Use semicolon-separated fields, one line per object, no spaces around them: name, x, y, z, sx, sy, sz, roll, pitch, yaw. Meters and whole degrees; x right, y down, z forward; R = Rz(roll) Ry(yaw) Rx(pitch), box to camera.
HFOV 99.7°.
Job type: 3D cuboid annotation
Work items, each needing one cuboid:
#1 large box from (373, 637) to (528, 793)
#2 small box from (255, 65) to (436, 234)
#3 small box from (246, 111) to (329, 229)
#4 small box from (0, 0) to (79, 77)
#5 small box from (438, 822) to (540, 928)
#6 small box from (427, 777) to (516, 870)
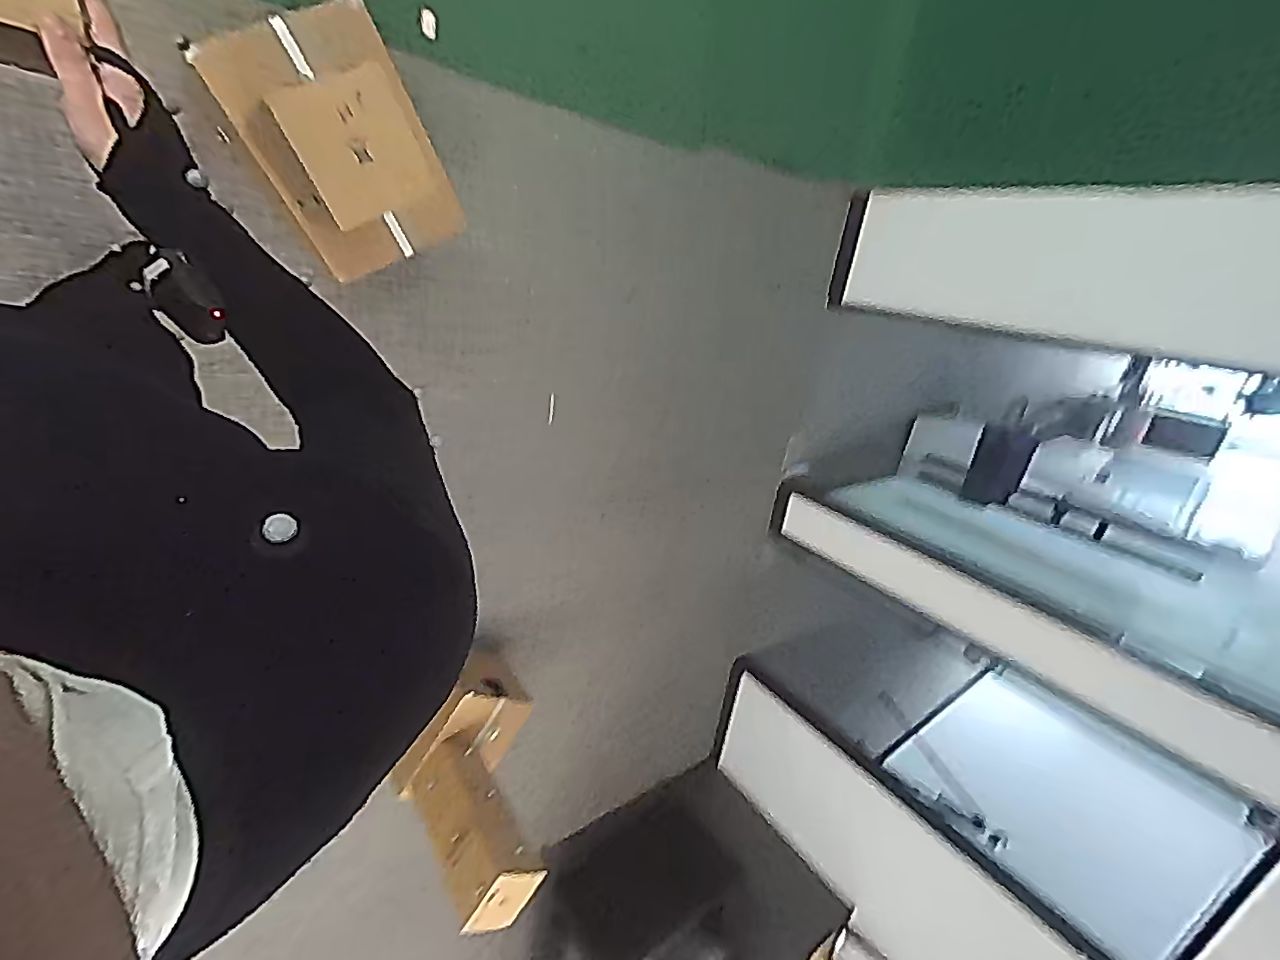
large box;-0.685;0.841;1.946;0.320;0.320;0.408;33;88;-46
small box;-0.450;-0.501;0.830;0.168;0.176;0.179;-36;132;-21
small box;-0.548;-0.564;0.947;0.168;0.176;0.179;-37;131;-19
small box;-0.536;-0.417;0.381;0.179;0.176;0.168;-11;116;-43
small box;-0.417;1.077;1.490;0.168;0.176;0.179;-55;135;-5
small box;-0.512;1.029;1.617;0.179;0.176;0.168;-55;134;-4
